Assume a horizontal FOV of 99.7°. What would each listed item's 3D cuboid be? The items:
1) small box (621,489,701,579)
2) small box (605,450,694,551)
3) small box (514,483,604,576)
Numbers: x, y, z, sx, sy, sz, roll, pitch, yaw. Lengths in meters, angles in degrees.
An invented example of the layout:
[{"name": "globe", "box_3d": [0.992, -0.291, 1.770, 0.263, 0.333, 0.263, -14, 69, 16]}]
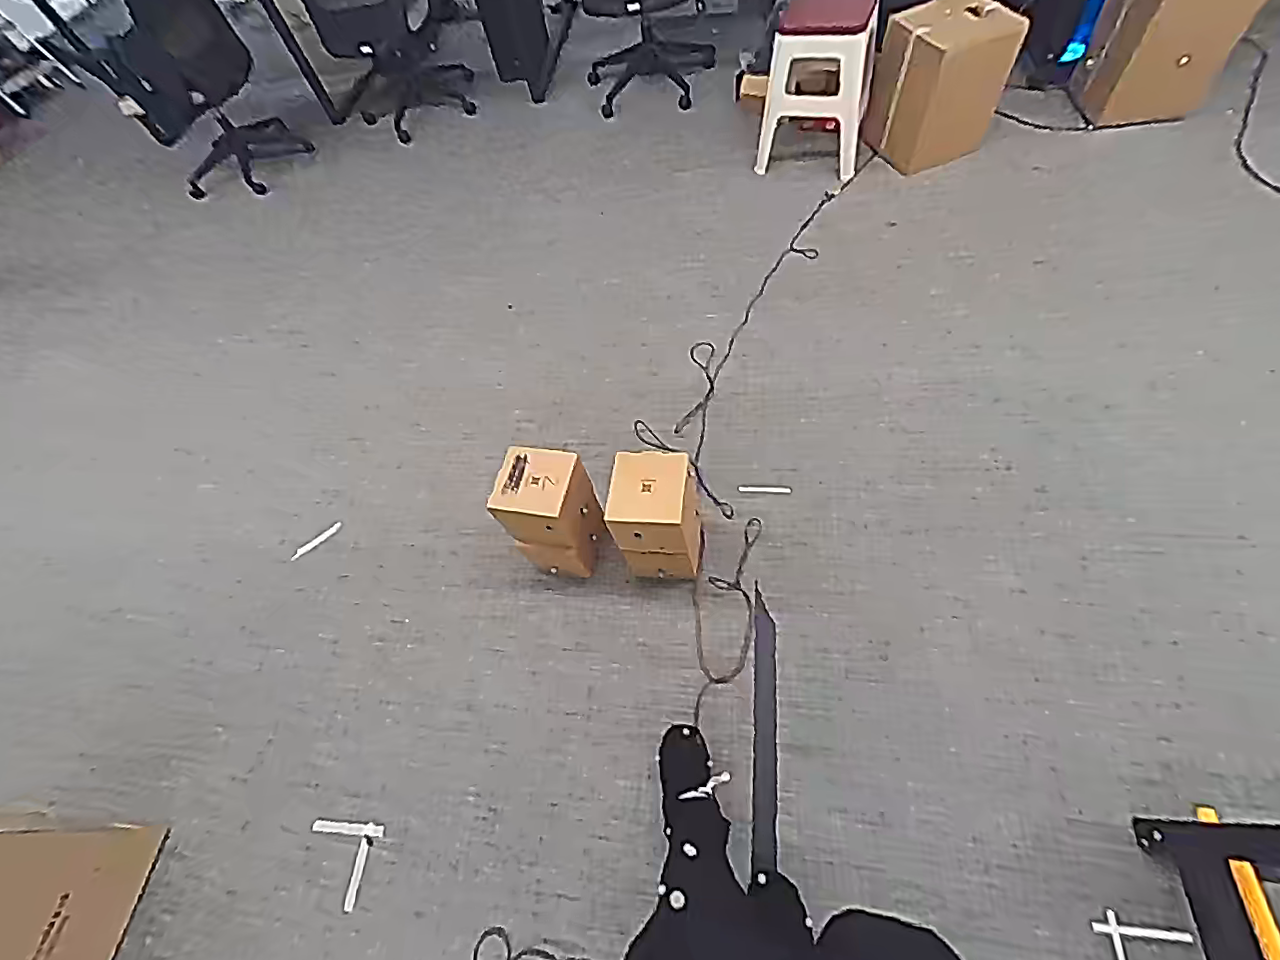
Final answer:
[{"name": "small box", "box_3d": [0.060, 0.132, 1.361, 0.168, 0.176, 0.179, 1, 60, 13]}, {"name": "small box", "box_3d": [0.030, 0.050, 1.224, 0.168, 0.176, 0.179, 1, 59, 13]}, {"name": "small box", "box_3d": [-0.200, 0.131, 1.410, 0.168, 0.176, 0.179, 7, 63, 15]}]
